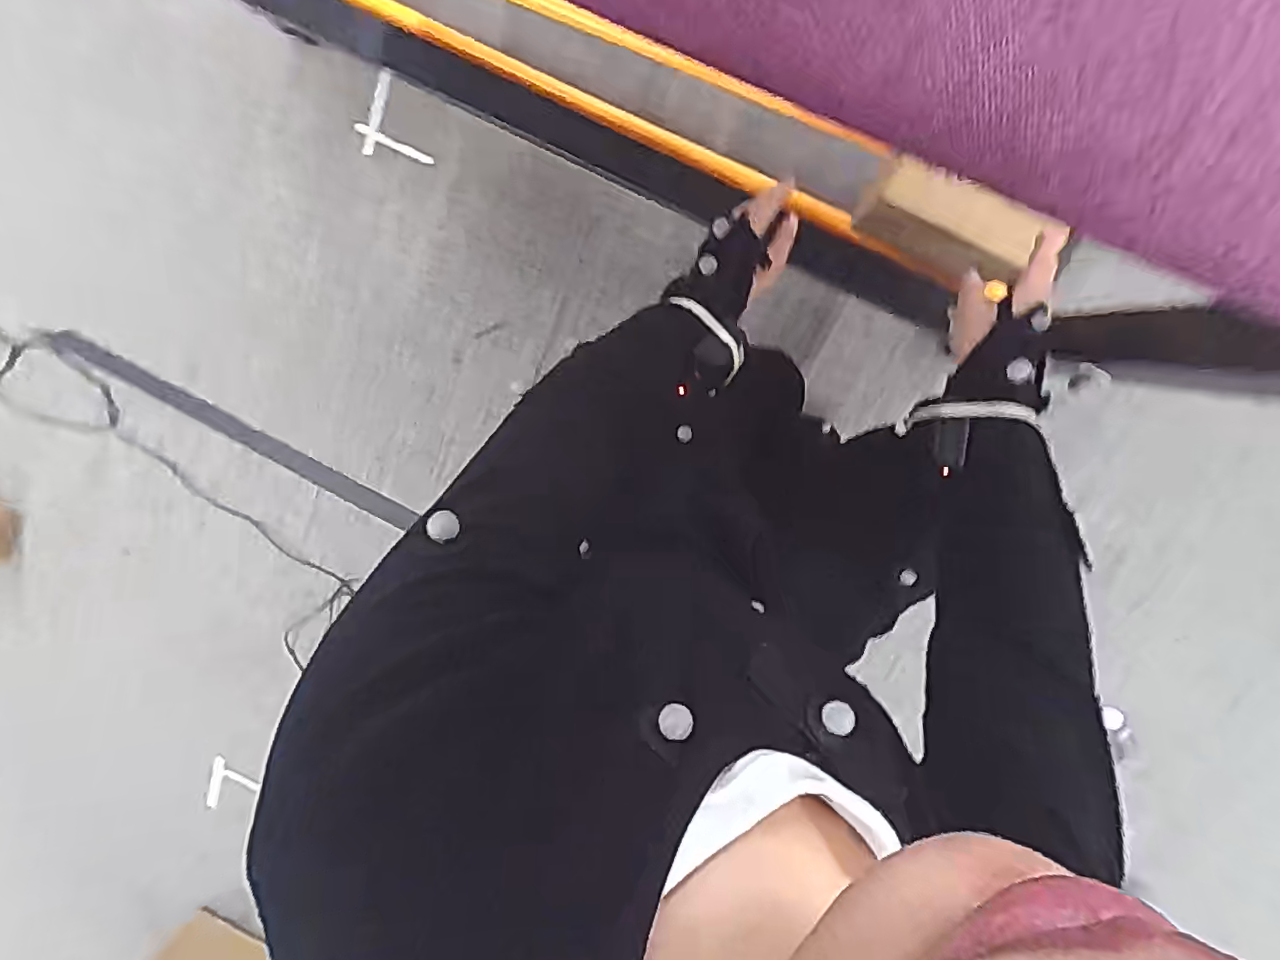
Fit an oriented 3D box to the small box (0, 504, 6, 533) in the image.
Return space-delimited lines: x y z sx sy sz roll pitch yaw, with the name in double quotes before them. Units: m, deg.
"small box" -1.517 0.095 1.133 0.179 0.176 0.168 34 108 -1
